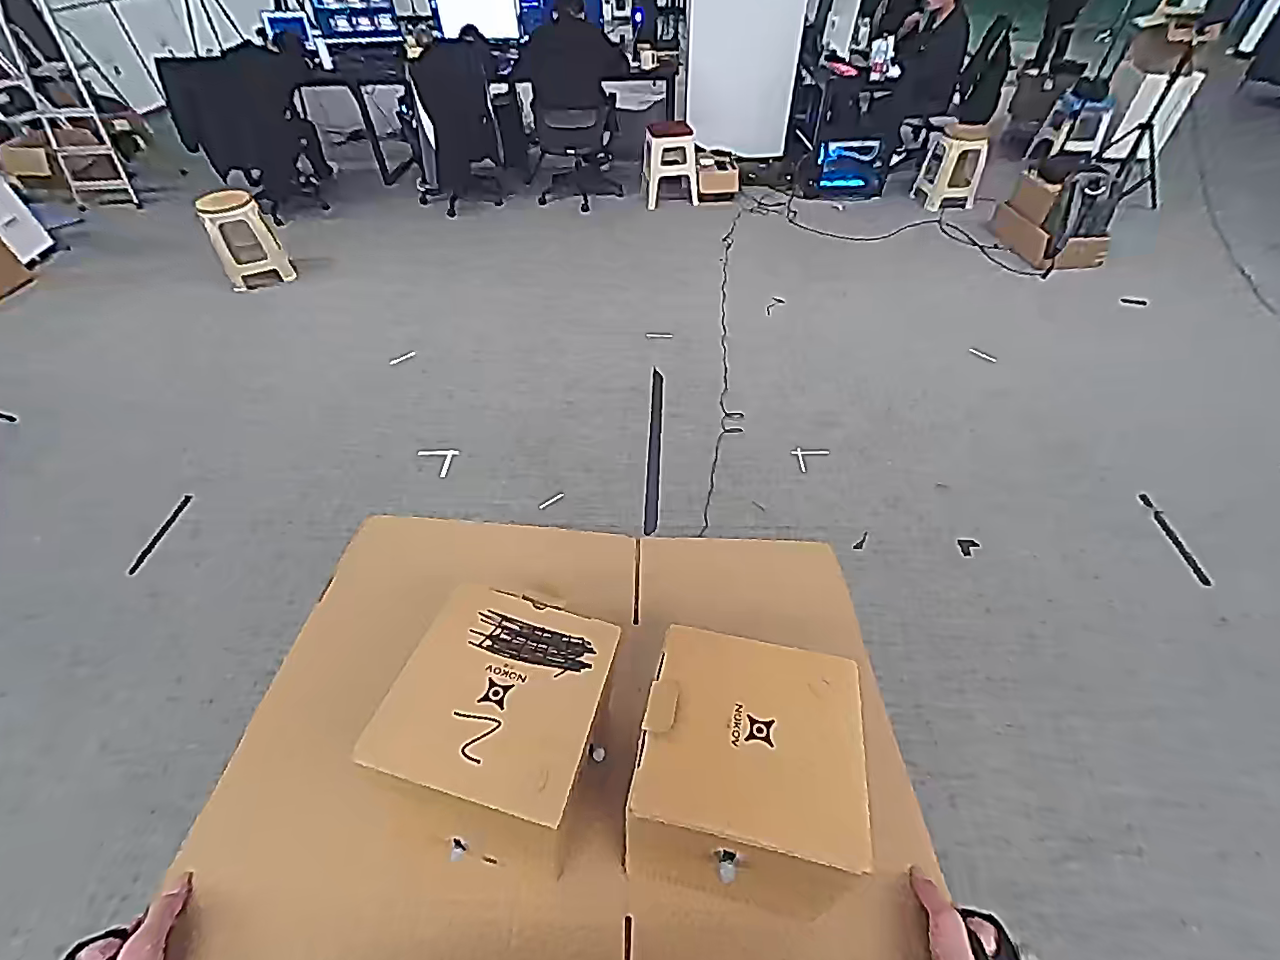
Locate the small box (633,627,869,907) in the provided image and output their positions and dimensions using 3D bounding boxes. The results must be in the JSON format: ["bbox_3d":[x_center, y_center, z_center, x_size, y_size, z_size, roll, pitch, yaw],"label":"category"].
[{"bbox_3d":[0.097,0.268,0.506,0.179,0.176,0.168,9,43,10],"label":"small box"}]
